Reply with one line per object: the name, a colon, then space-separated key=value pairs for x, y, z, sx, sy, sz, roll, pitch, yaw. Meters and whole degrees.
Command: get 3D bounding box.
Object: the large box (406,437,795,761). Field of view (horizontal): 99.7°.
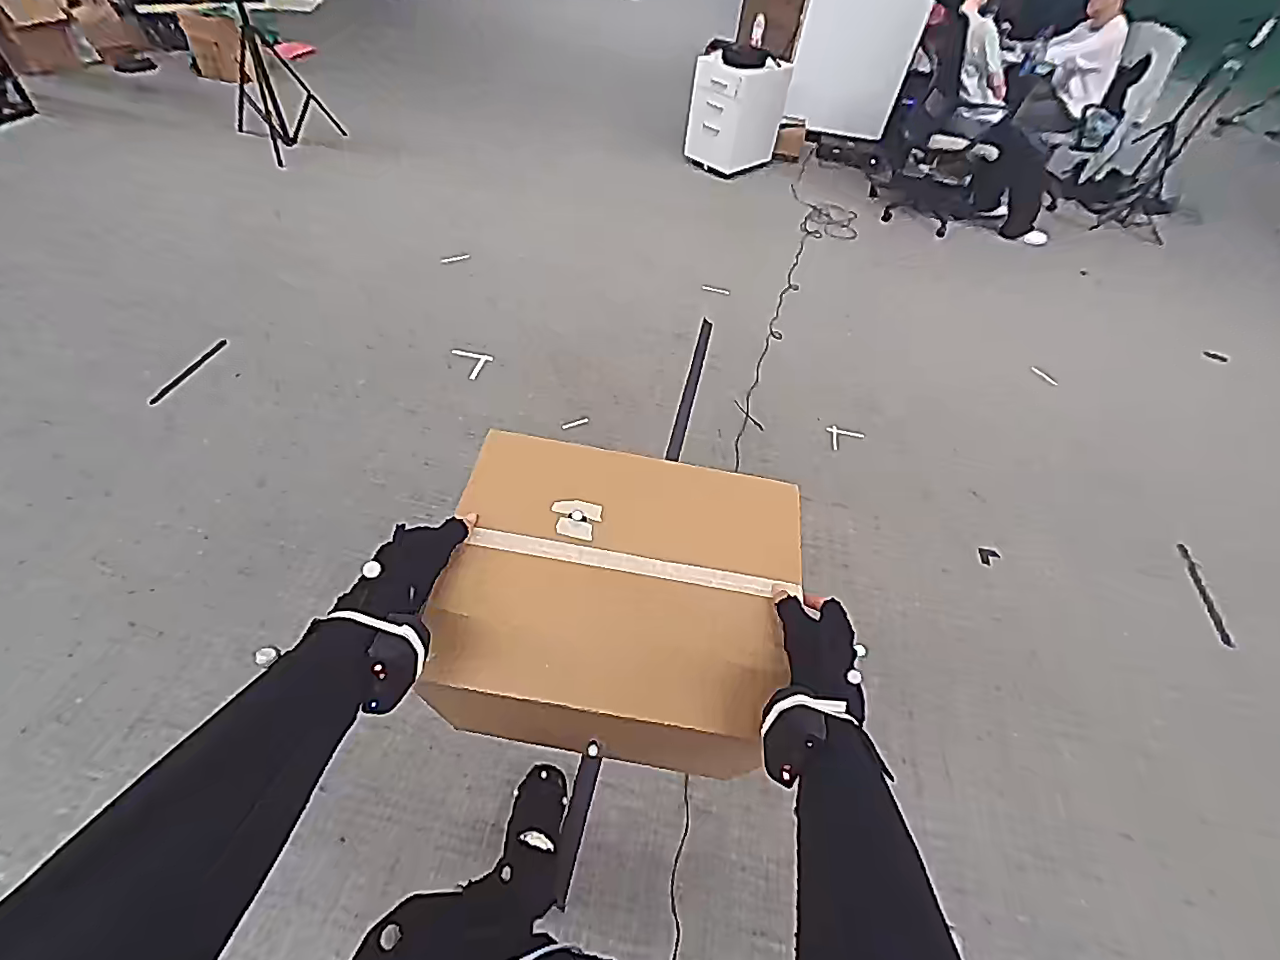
large box: x=-0.032 y=0.179 z=0.747 sx=0.408 sy=0.320 sz=0.320 roll=10 pitch=55 yaw=0
